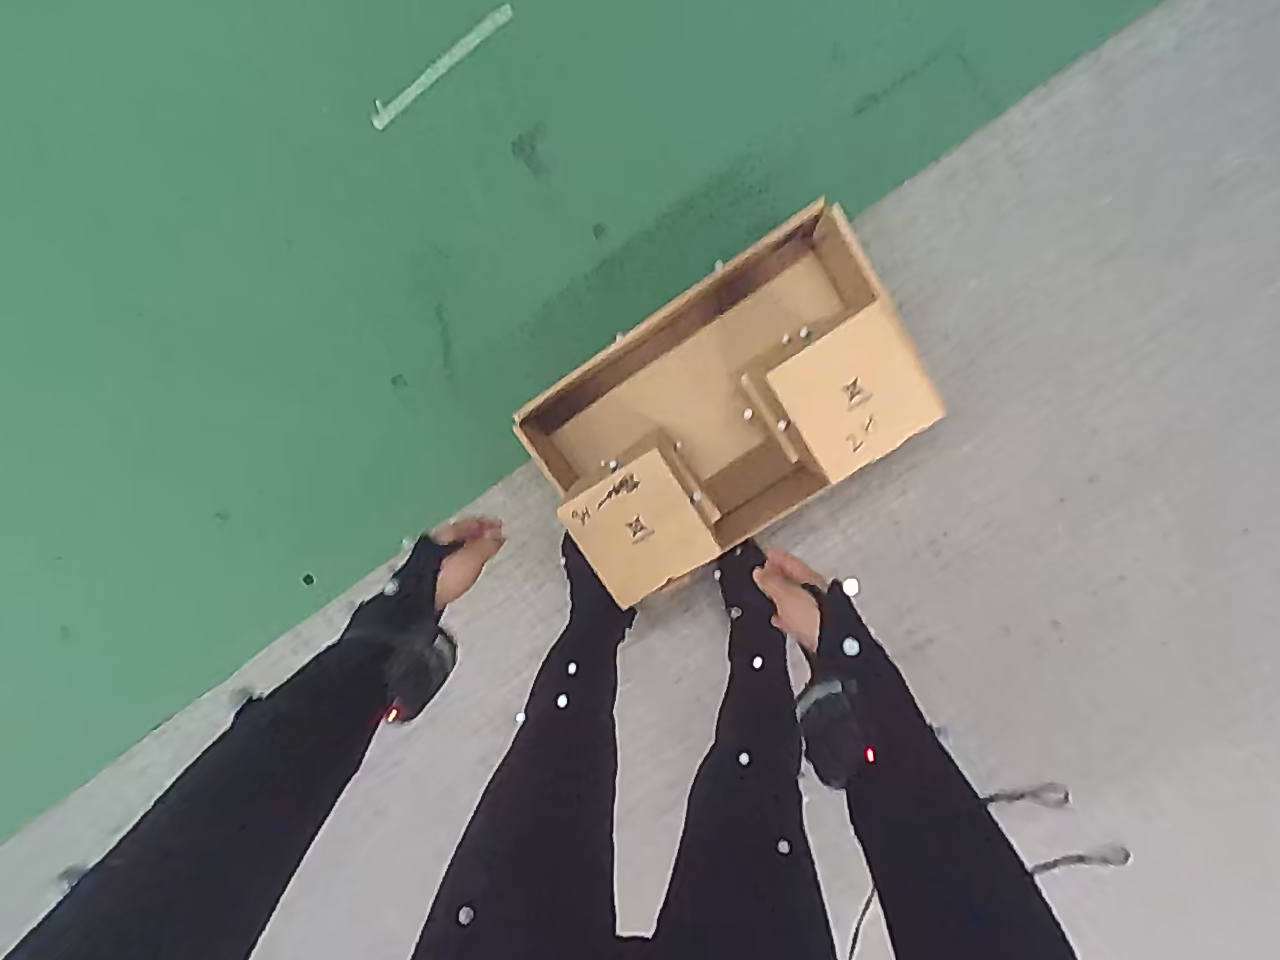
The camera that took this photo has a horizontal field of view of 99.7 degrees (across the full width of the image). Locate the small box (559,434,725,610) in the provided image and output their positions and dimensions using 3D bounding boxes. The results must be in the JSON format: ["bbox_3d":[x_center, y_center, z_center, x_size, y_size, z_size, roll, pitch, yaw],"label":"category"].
[{"bbox_3d":[0.006,0.052,0.800,0.168,0.176,0.179,-32,101,8],"label":"small box"}]

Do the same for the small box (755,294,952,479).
[{"bbox_3d":[0.279,-0.129,0.751,0.168,0.176,0.179,-33,100,9],"label":"small box"}]
